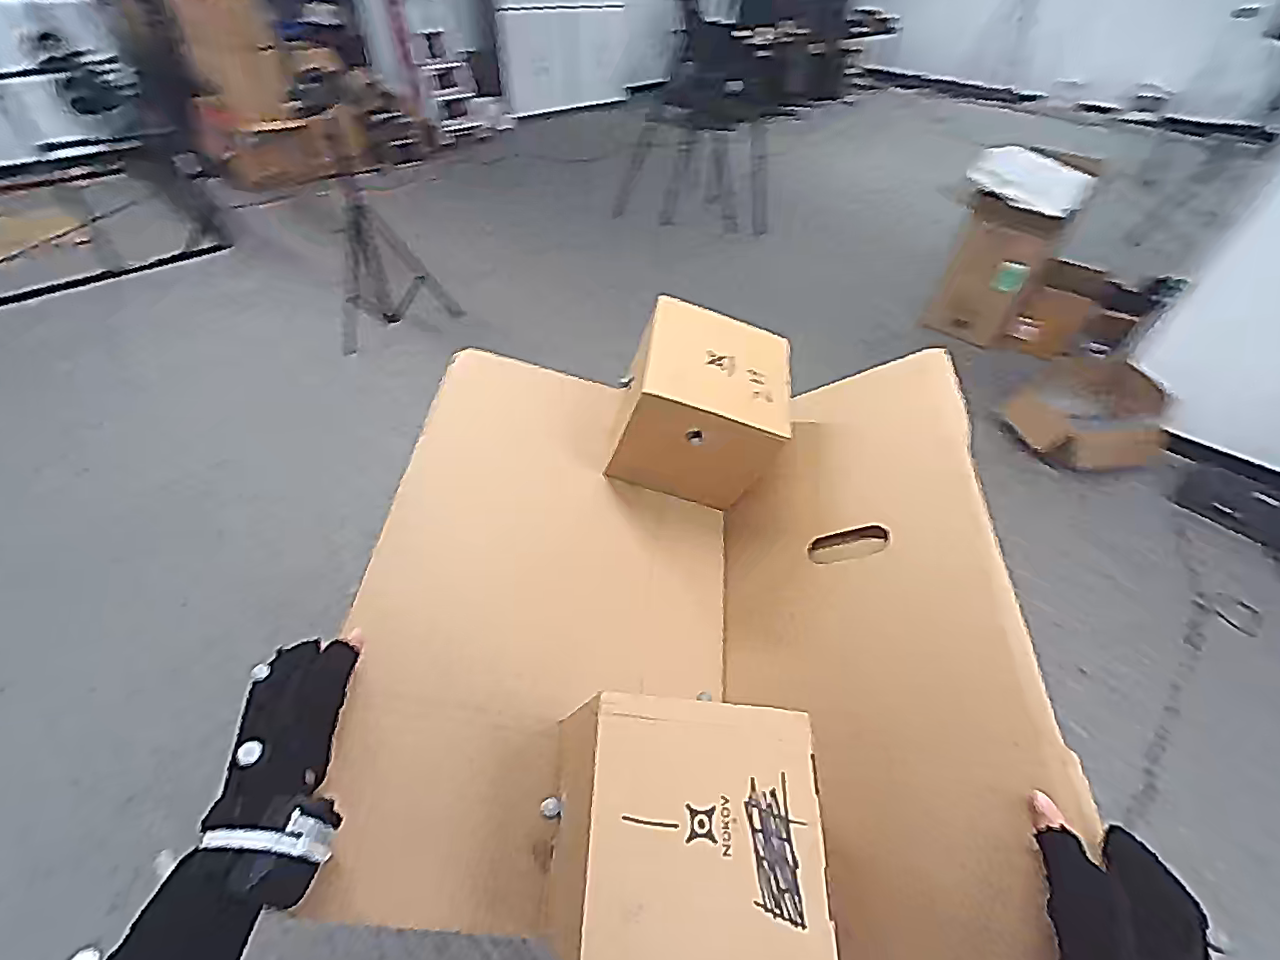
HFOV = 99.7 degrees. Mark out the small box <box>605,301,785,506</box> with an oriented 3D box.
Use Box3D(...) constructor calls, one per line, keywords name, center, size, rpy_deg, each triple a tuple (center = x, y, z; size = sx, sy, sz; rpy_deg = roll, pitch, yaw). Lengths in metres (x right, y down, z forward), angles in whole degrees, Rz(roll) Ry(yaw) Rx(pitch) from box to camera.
Box3D(name="small box", center=(0.066, -0.088, 0.691), size=(0.179, 0.176, 0.168), rpy_deg=(18, 55, -10))
